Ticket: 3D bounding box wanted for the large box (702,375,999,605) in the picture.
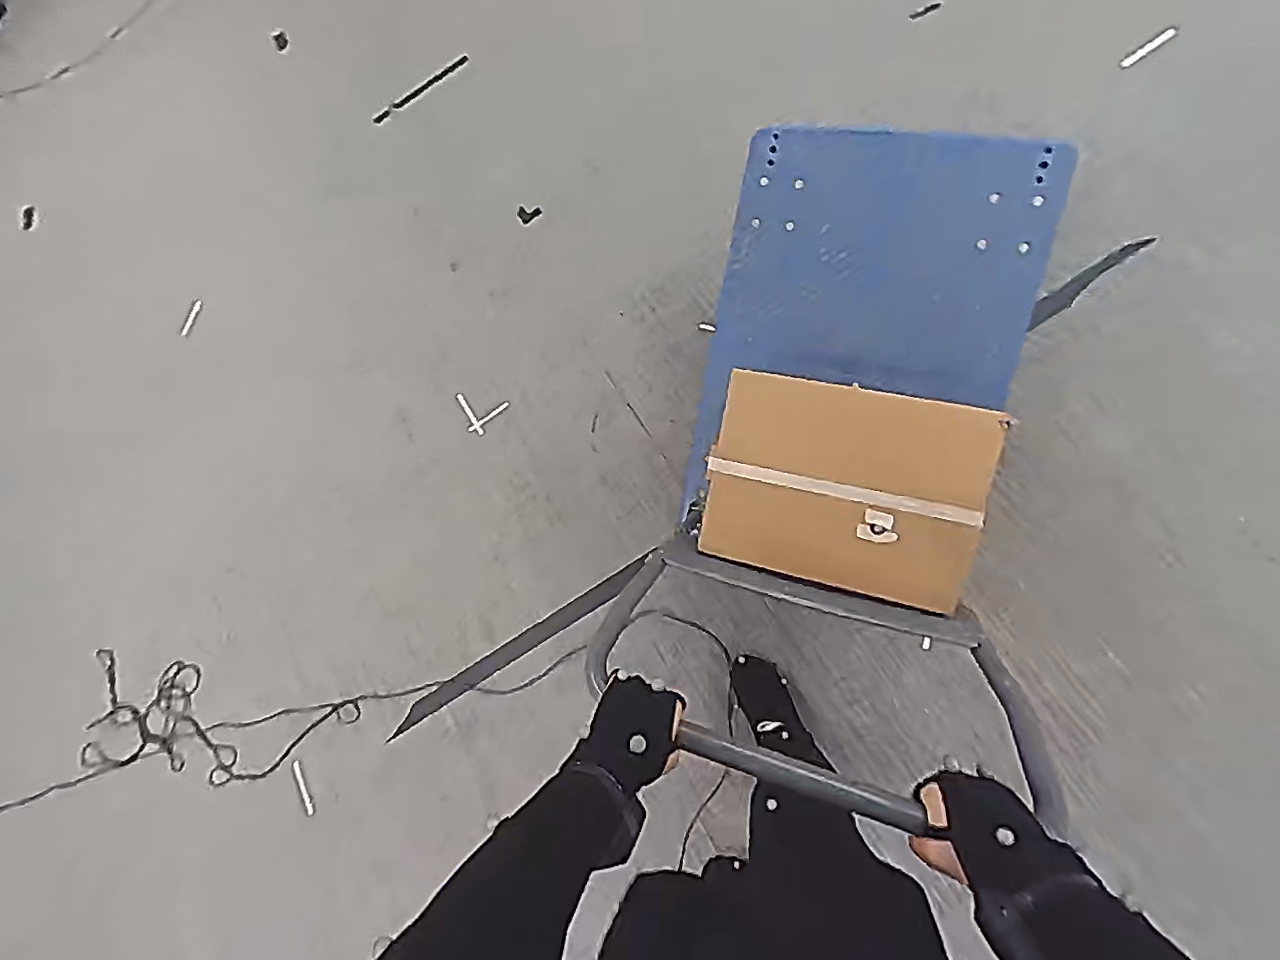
[{"bbox_3d":[0.355,-0.006,1.006,0.408,0.320,0.320,12,101,14],"label":"large box"}]
